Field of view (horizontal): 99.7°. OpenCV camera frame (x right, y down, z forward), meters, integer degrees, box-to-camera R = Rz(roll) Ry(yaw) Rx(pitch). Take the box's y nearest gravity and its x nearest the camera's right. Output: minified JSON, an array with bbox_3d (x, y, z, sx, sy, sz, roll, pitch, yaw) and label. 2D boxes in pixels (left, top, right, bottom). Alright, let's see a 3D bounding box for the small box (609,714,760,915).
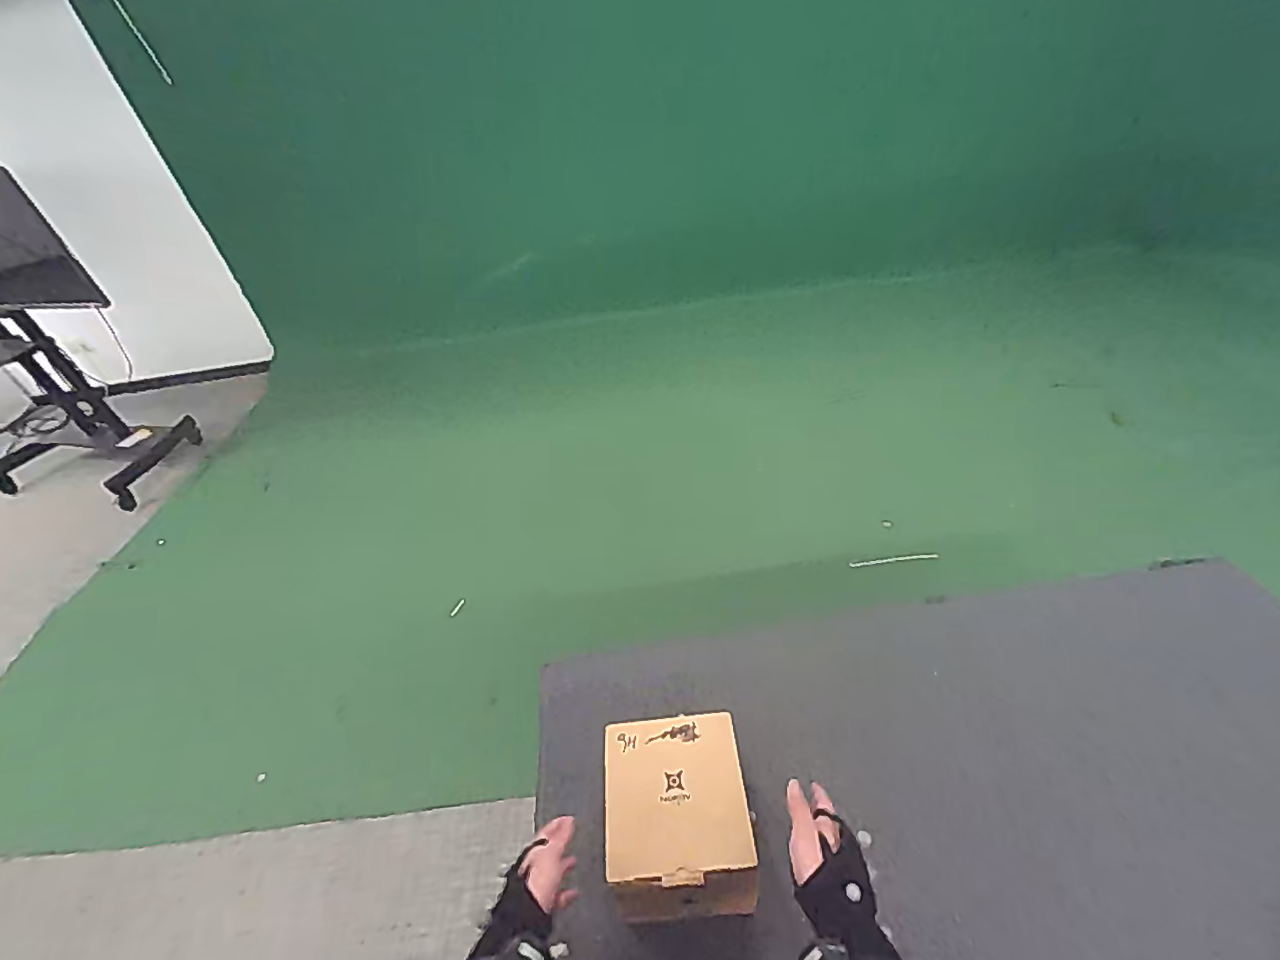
[{"bbox_3d":[0.054,0.427,0.687,0.168,0.176,0.179,-7,40,2],"label":"small box"}]
